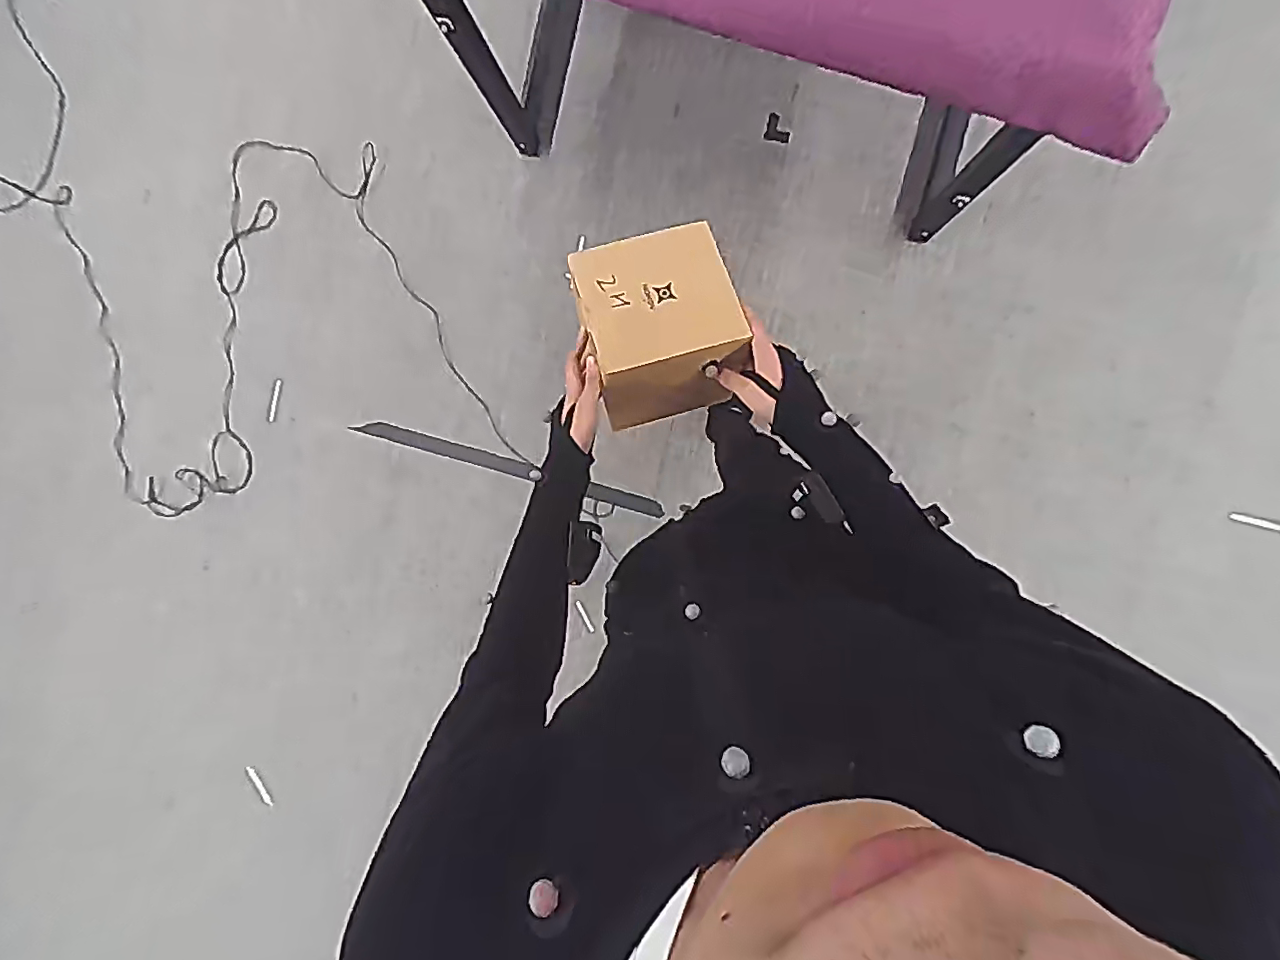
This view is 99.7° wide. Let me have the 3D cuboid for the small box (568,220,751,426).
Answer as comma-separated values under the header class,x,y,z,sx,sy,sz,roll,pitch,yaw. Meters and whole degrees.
class,x,y,z,sx,sy,sz,roll,pitch,yaw
small box,0.019,-0.189,0.687,0.179,0.176,0.168,-16,74,-4
